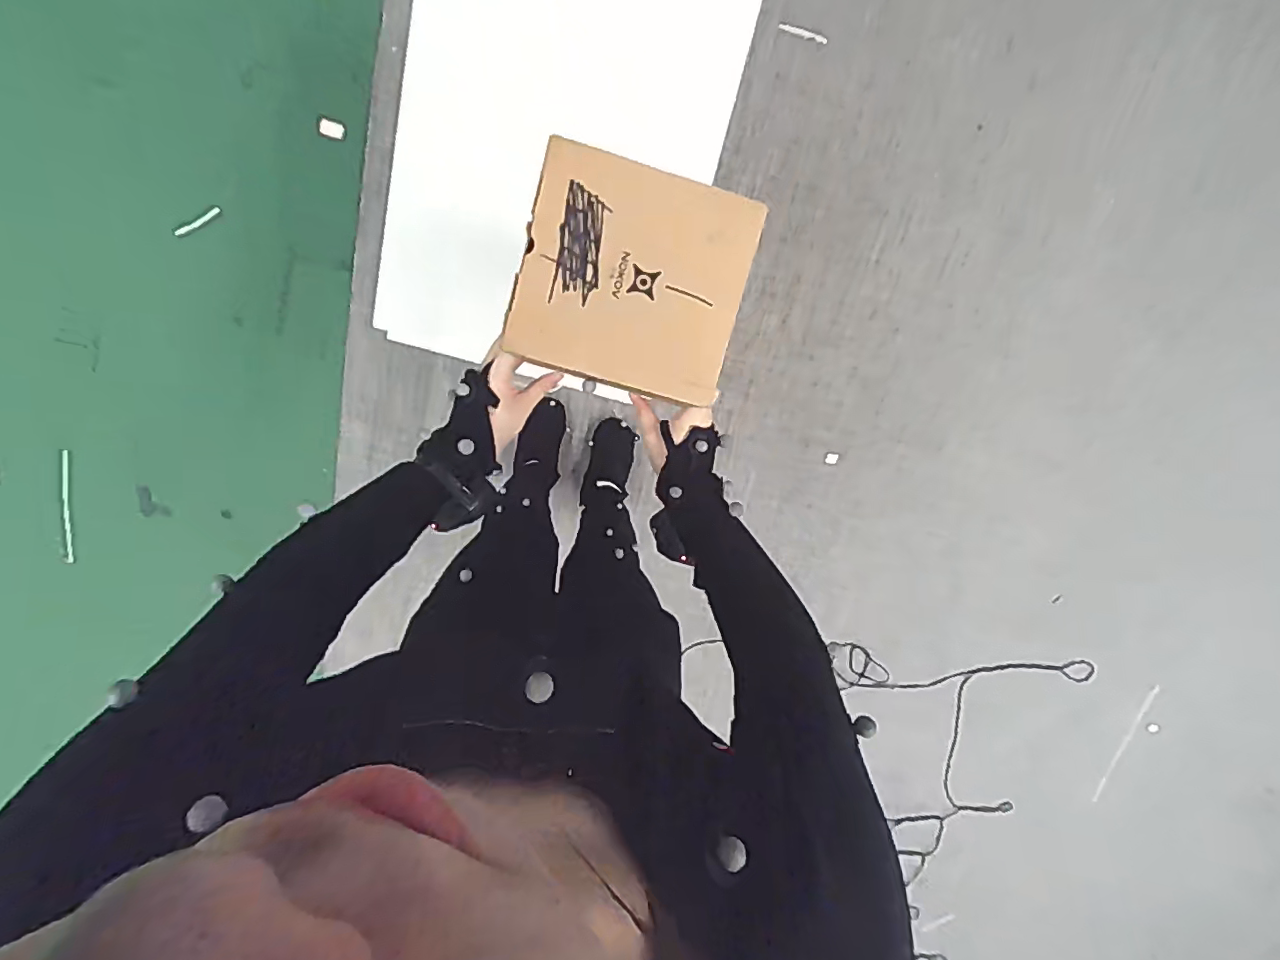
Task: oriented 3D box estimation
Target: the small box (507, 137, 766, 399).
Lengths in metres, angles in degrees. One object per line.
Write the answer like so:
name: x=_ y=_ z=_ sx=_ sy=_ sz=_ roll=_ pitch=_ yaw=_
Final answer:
small box: x=-0.009 y=-0.176 z=0.511 sx=0.179 sy=0.176 sz=0.168 roll=15 pitch=97 yaw=-7
